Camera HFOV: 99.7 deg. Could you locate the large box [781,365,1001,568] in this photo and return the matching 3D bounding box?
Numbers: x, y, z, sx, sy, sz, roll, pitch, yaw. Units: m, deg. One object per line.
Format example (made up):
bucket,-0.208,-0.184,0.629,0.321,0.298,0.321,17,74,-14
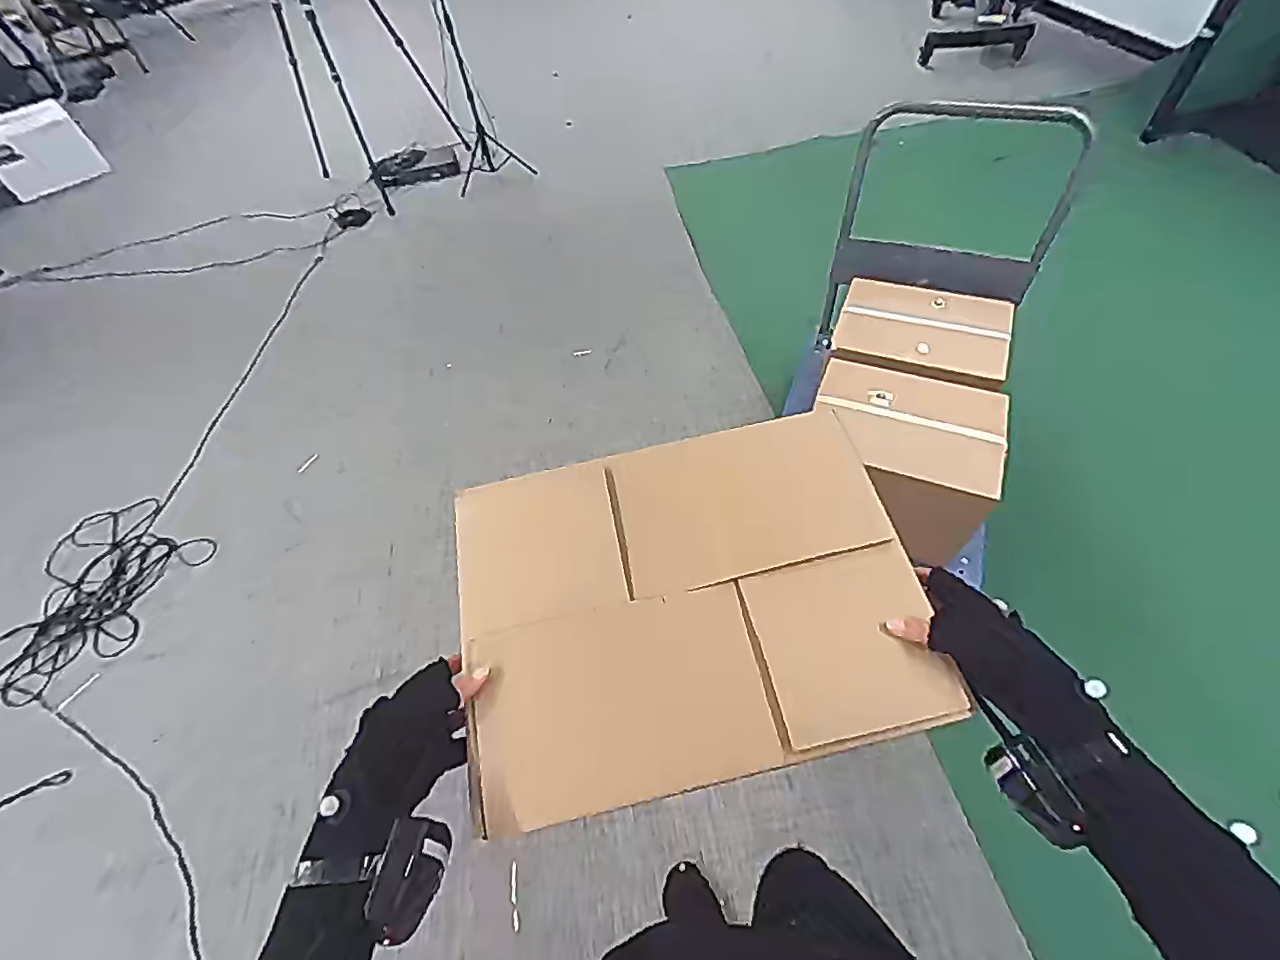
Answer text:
large box,0.597,-0.033,1.331,0.408,0.320,0.320,17,57,19
